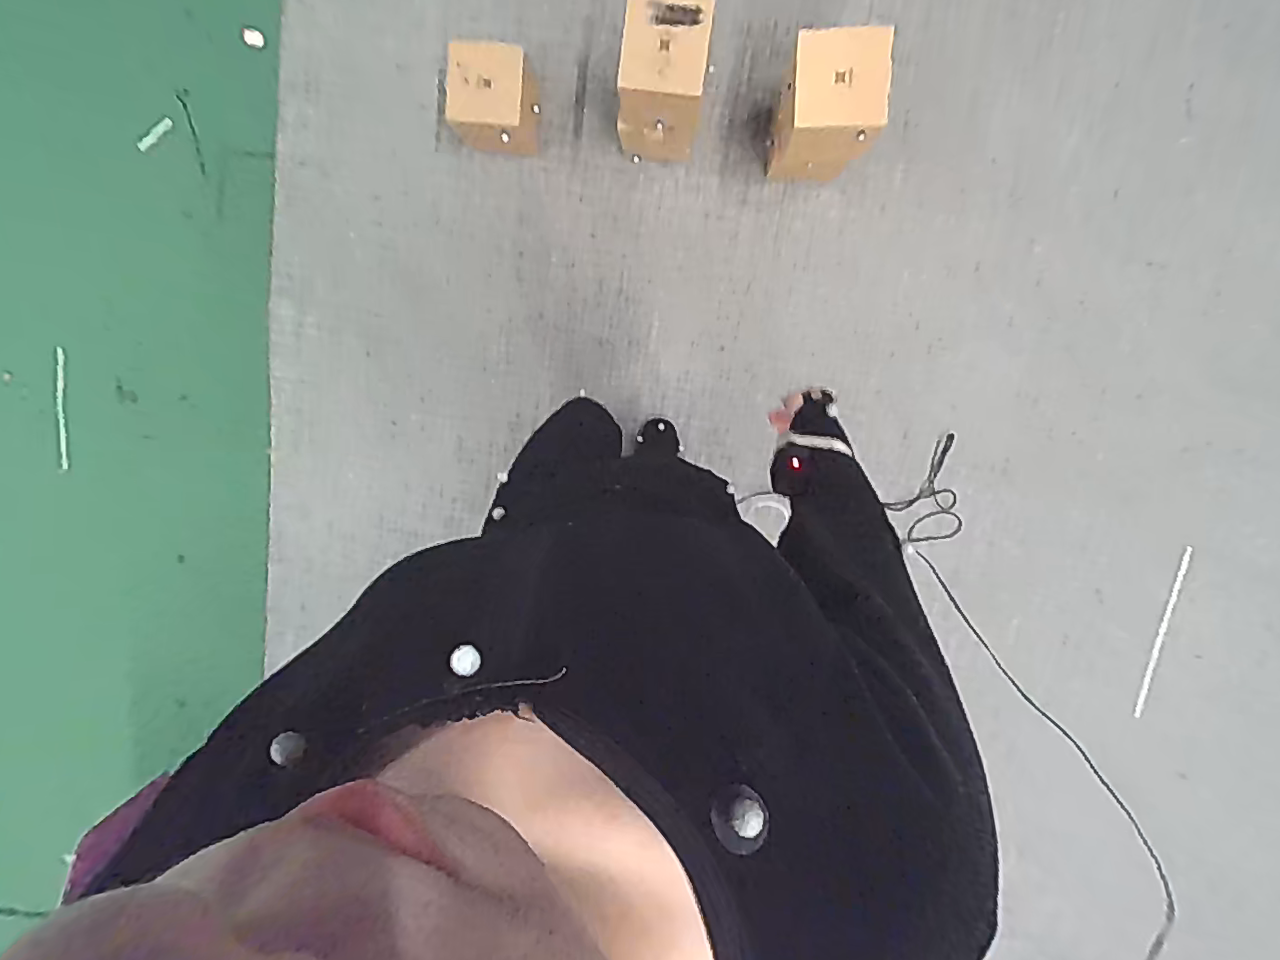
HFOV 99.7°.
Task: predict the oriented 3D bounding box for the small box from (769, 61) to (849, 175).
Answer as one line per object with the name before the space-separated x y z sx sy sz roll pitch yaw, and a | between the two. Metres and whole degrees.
small box | 0.398 -0.817 1.234 0.179 0.176 0.168 6 102 4

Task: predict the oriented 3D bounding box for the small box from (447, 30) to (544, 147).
small box | -0.336 -0.917 1.282 0.179 0.176 0.168 8 100 4

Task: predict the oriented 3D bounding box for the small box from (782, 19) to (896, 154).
small box | 0.385 -0.771 1.078 0.179 0.176 0.168 1 101 5

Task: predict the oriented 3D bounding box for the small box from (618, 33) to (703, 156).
small box | 0.051 -0.882 1.253 0.168 0.176 0.179 8 100 3
